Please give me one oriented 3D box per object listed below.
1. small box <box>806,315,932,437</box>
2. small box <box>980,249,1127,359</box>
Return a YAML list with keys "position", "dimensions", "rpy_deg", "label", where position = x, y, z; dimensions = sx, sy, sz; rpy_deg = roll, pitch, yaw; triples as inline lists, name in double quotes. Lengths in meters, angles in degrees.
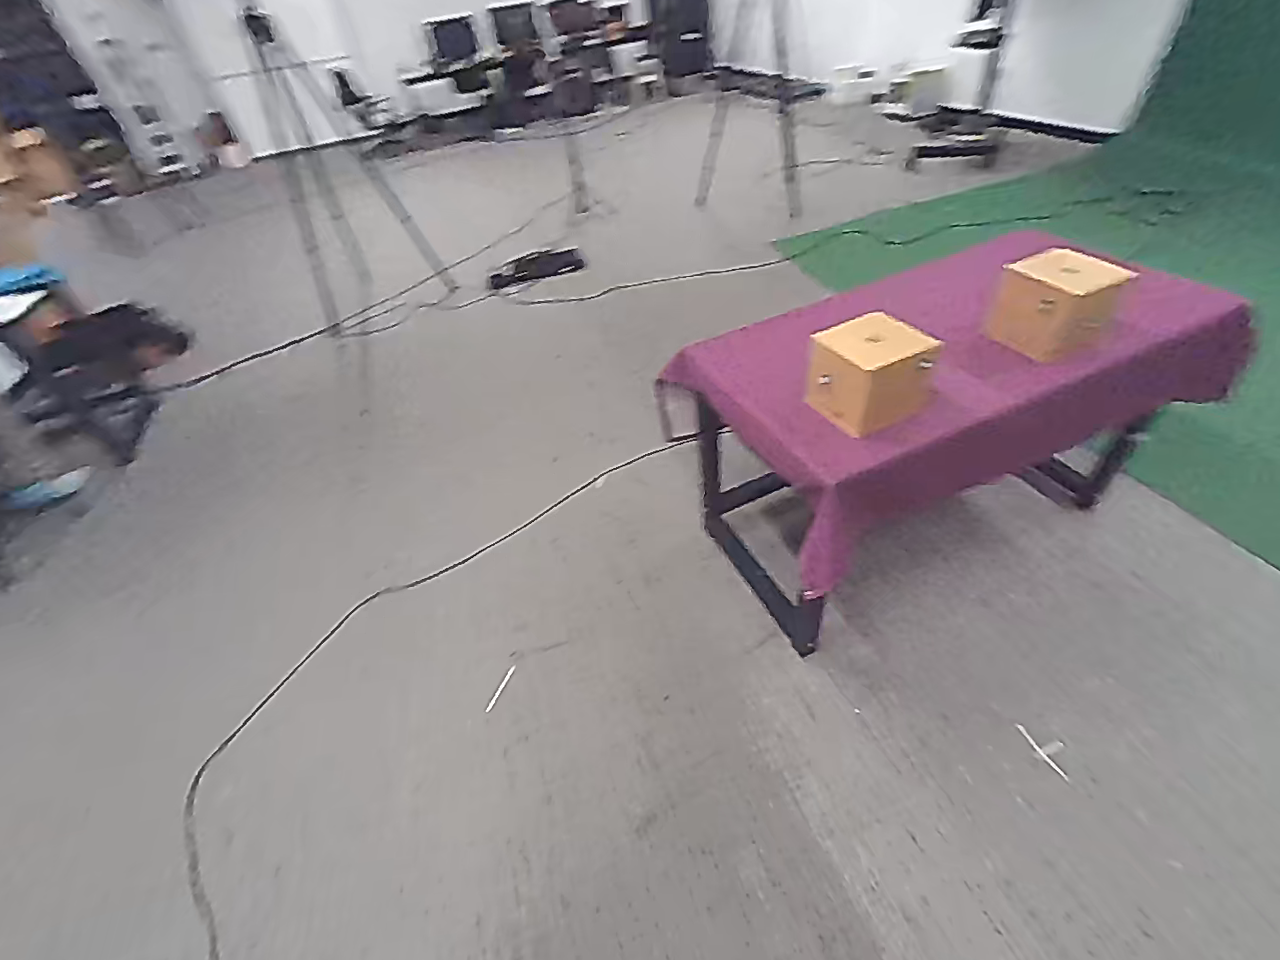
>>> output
- position: [0.463, -0.215, 1.124]
  dimensions: [0.179, 0.176, 0.168]
  rpy_deg: [-23, 44, -15]
  label: "small box"
- position: [0.923, -0.394, 1.226]
  dimensions: [0.168, 0.176, 0.179]
  rpy_deg: [-21, 44, -12]
  label: "small box"
